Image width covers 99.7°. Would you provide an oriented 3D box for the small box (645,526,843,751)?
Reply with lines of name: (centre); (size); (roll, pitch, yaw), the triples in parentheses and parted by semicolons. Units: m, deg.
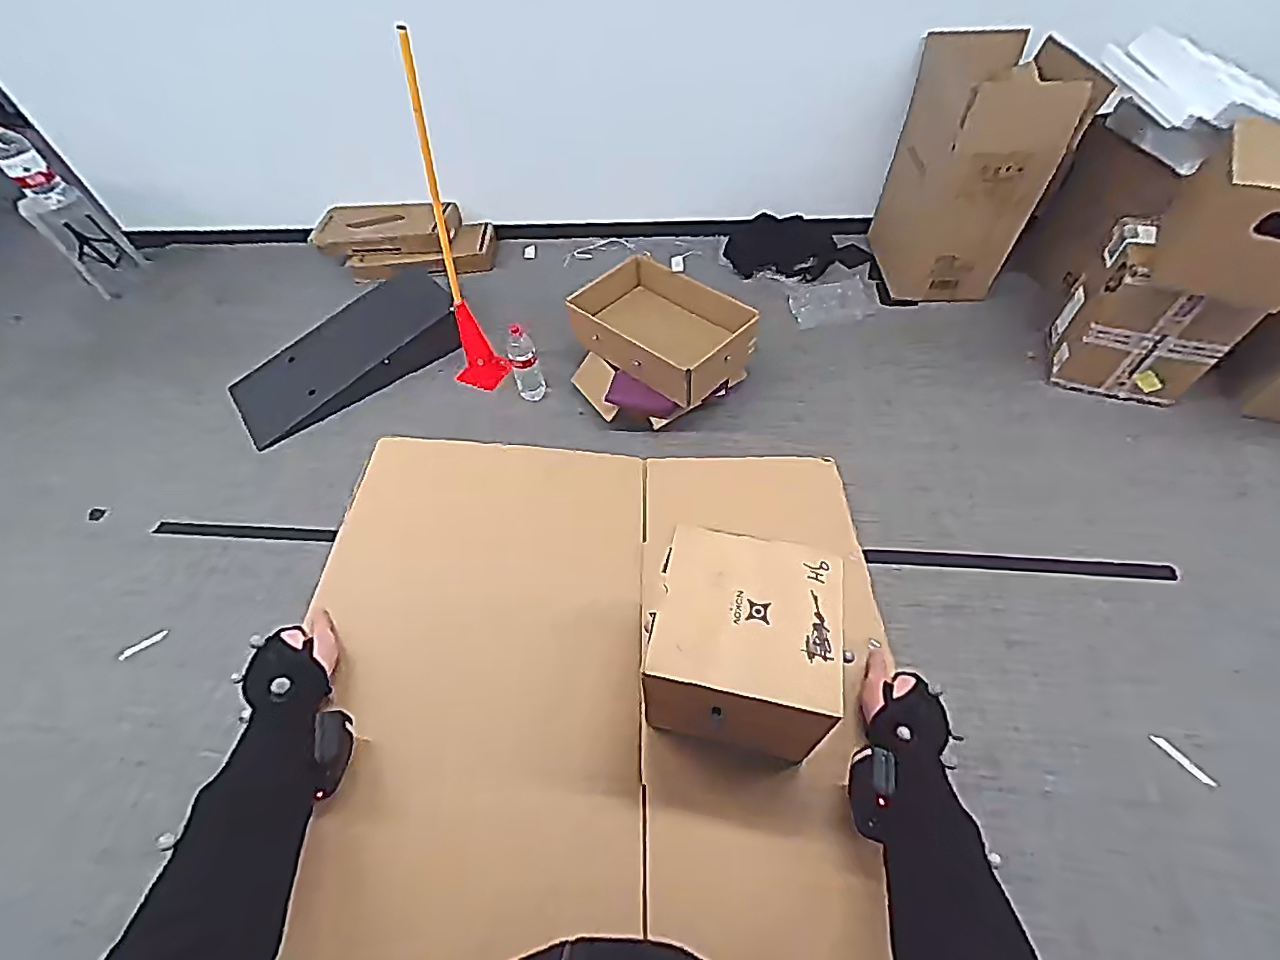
small box: (0.111, 0.174, 0.585); (0.179, 0.176, 0.168); (8, 52, 11)
